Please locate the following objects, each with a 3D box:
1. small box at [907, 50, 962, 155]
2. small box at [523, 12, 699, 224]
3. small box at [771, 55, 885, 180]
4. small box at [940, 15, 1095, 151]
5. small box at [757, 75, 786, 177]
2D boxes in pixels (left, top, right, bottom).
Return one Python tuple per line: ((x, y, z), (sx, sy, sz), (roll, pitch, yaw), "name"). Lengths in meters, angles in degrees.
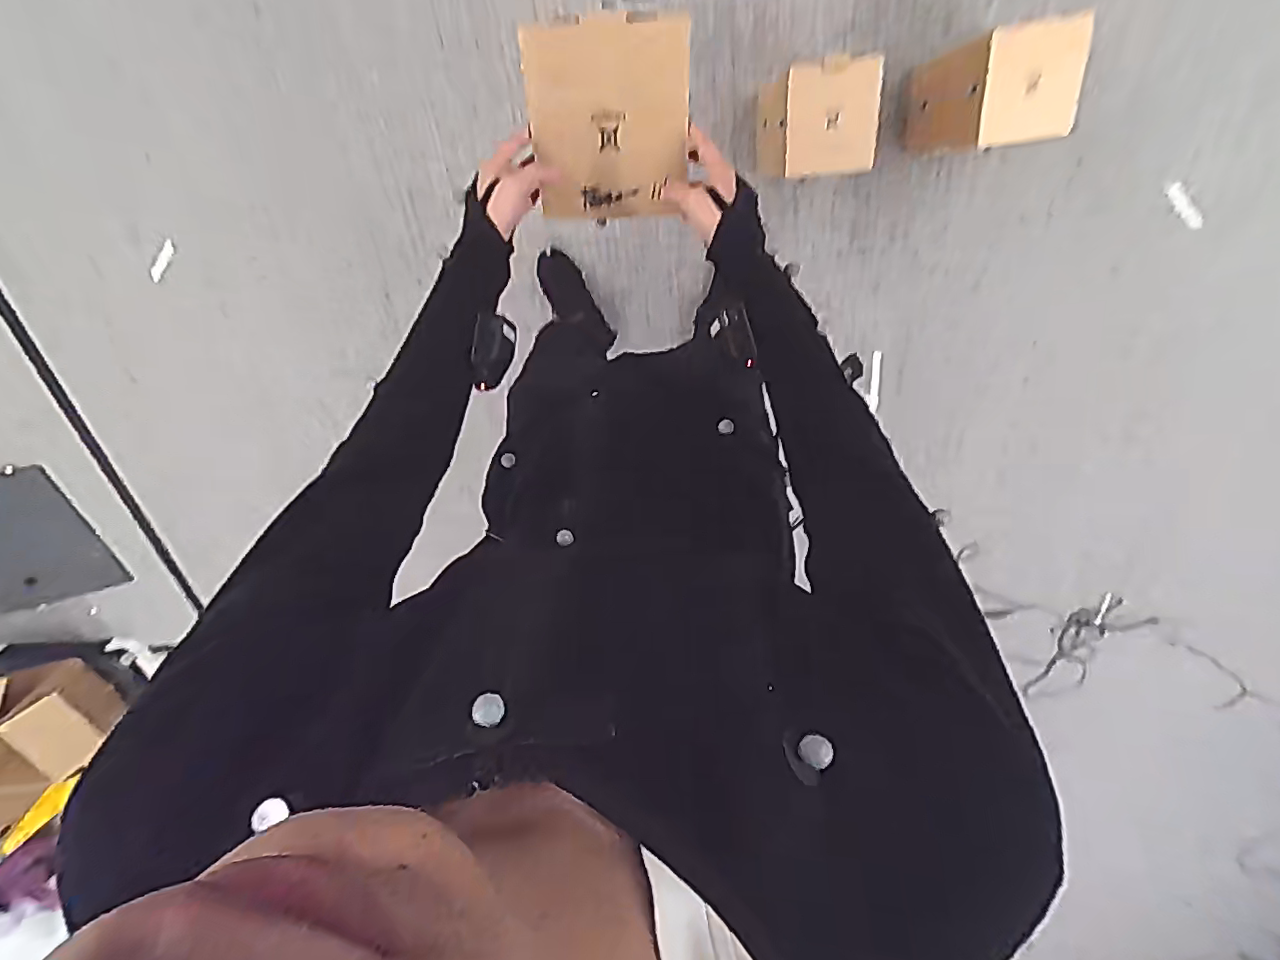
((0.690, -0.808, 1.158), (0.168, 0.176, 0.179), (-7, 118, 5), "small box")
((-0.026, -0.403, 0.607), (0.168, 0.176, 0.179), (-1, 129, 2), "small box")
((0.351, -0.687, 1.044), (0.168, 0.176, 0.179), (-4, 118, 4), "small box")
((0.691, -0.730, 1.015), (0.168, 0.176, 0.179), (-7, 118, 5), "small box")
((0.353, -0.772, 1.184), (0.168, 0.176, 0.179), (-4, 119, 4), "small box")
